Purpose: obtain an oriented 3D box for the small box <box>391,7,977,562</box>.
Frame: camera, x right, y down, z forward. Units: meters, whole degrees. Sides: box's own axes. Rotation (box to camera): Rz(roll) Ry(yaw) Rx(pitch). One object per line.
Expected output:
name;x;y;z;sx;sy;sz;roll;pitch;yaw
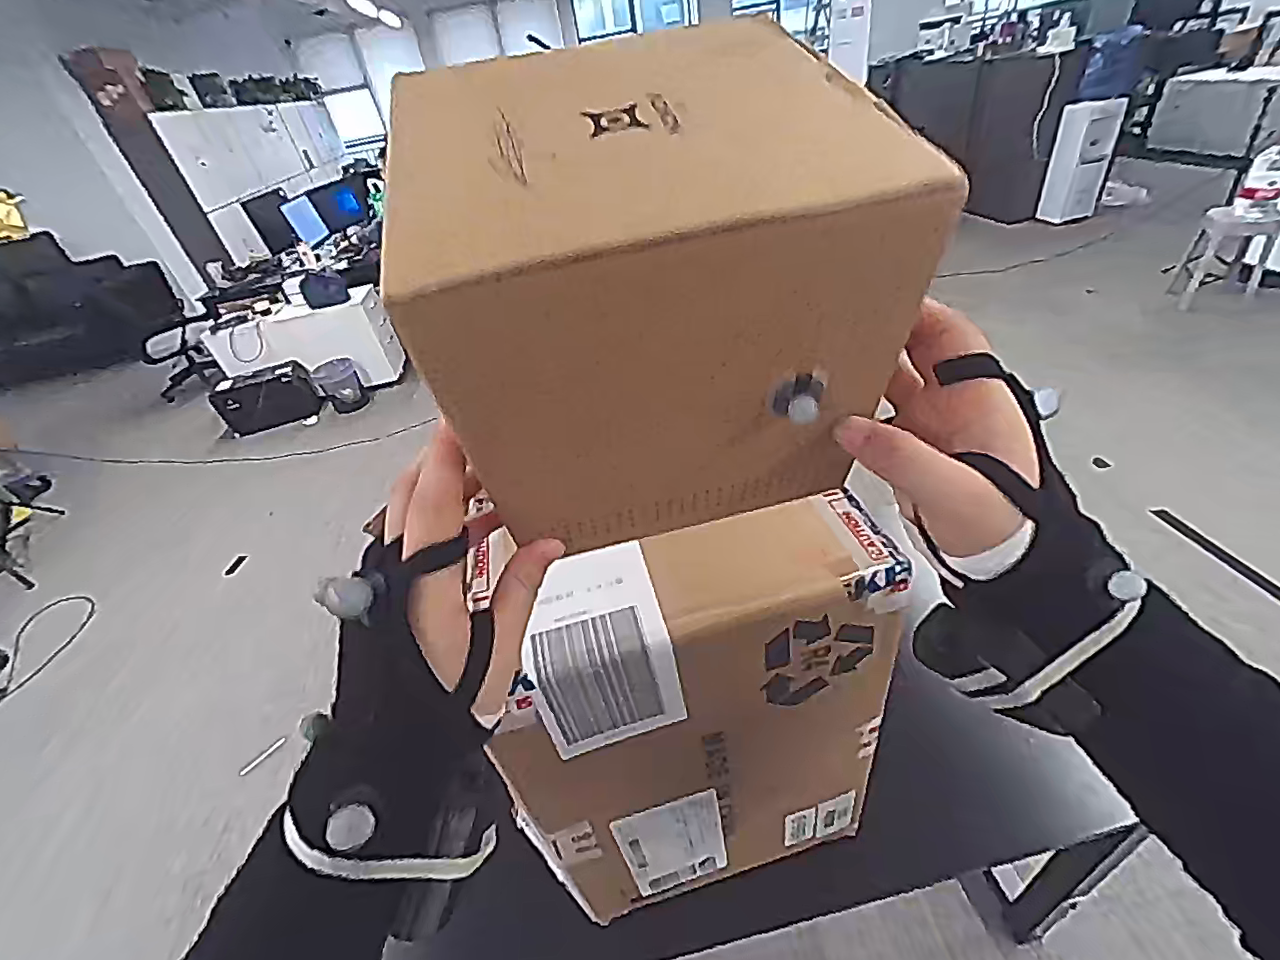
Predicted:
small box;0.004;-0.082;0.261;0.179;0.176;0.168;-14;56;-4
